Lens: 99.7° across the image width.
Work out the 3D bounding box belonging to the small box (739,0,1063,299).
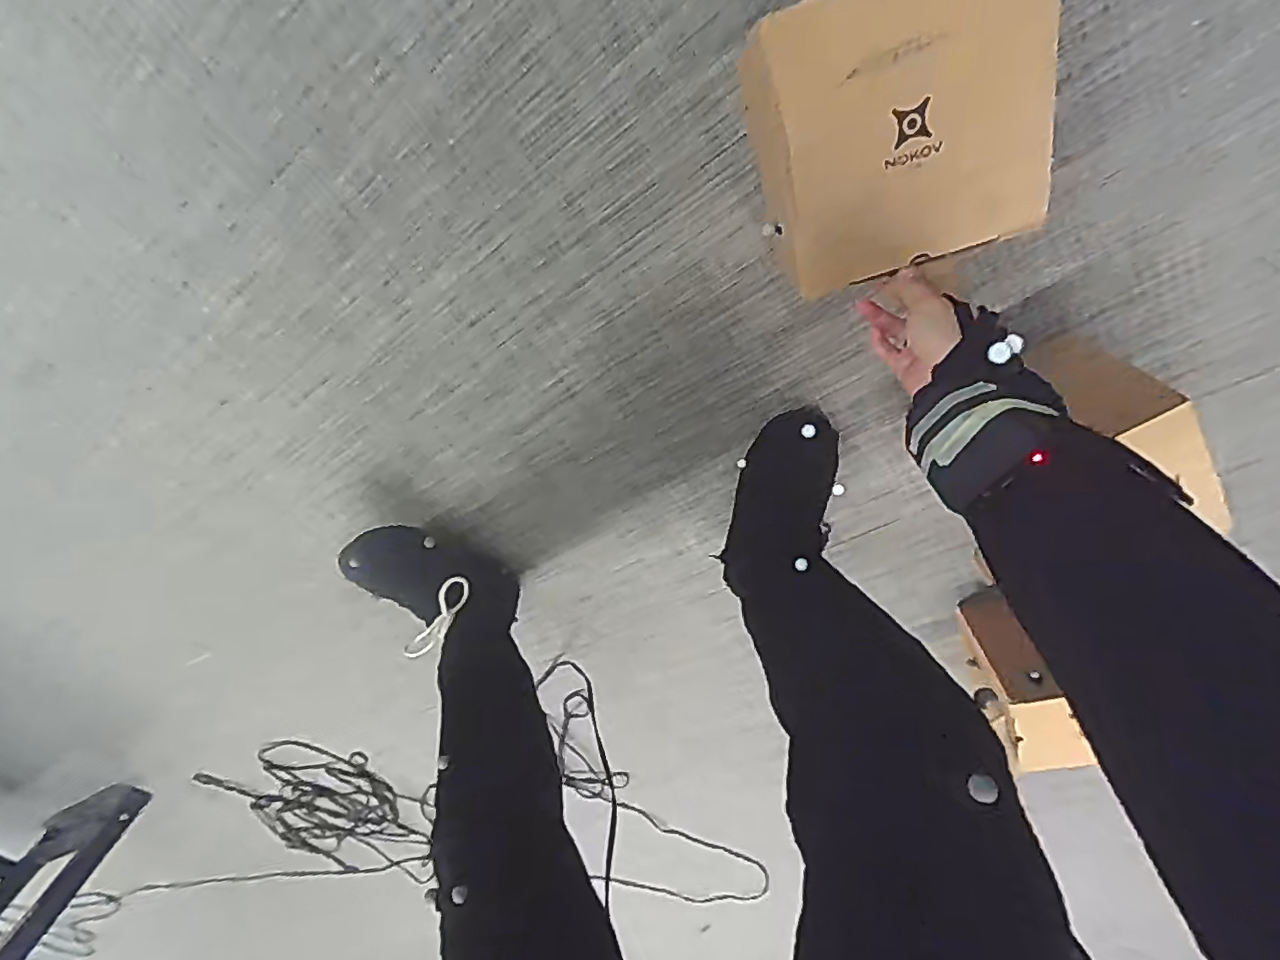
[{"bbox_3d":[0.178,-0.265,0.409,0.168,0.176,0.179,-15,119,13],"label":"small box"}]

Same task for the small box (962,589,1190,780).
[{"bbox_3d":[0.566,0.270,0.726,0.179,0.176,0.168,-18,121,17],"label":"small box"}]
